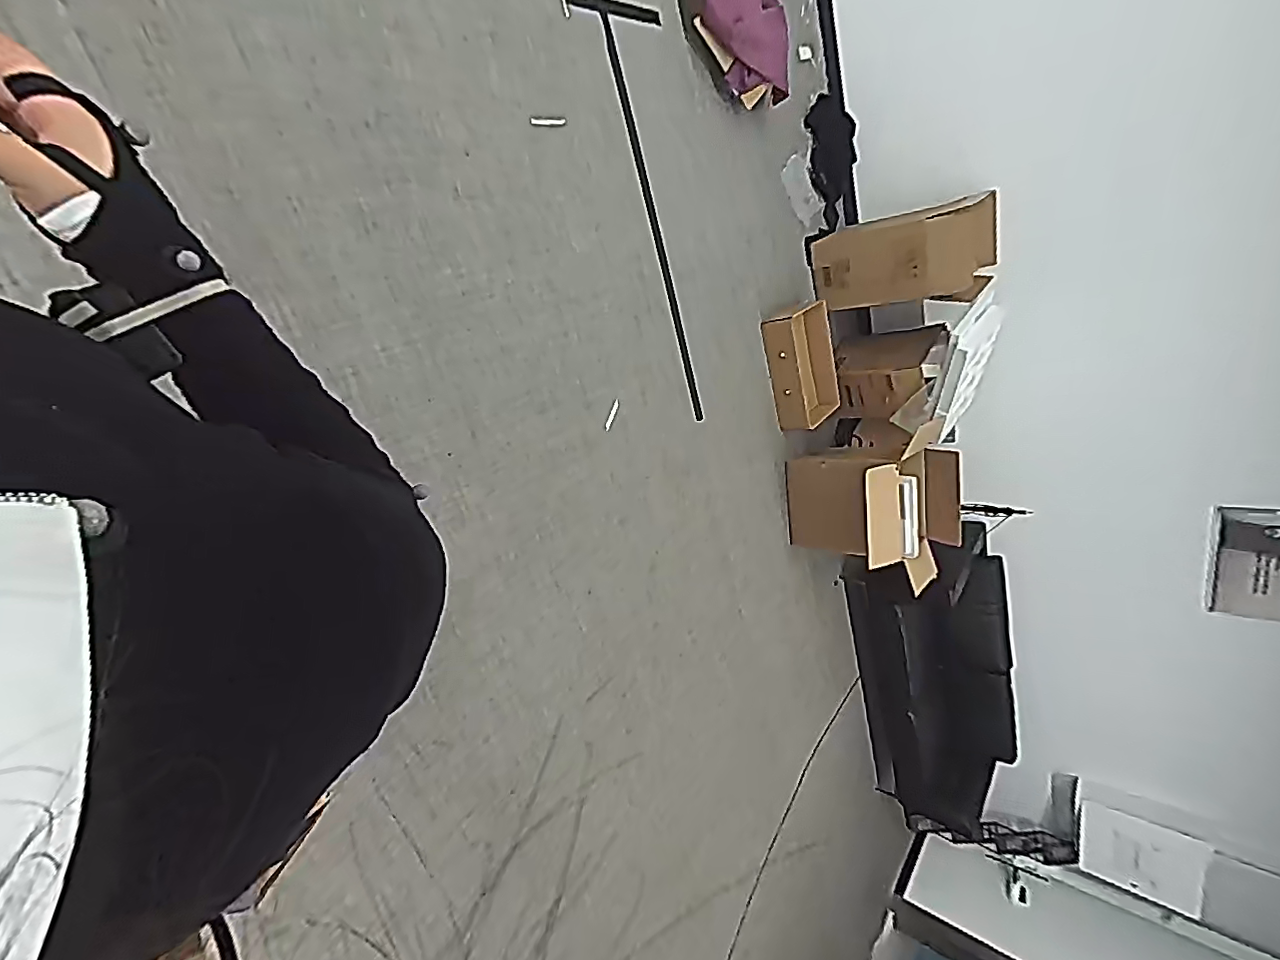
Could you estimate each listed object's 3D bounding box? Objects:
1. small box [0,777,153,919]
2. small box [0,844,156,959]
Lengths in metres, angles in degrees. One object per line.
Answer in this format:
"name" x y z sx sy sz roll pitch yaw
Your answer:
"small box" -0.761 0.525 0.679 0.179 0.176 0.168 -33 115 -38
"small box" -0.644 0.539 0.567 0.168 0.176 0.179 -31 114 -38
